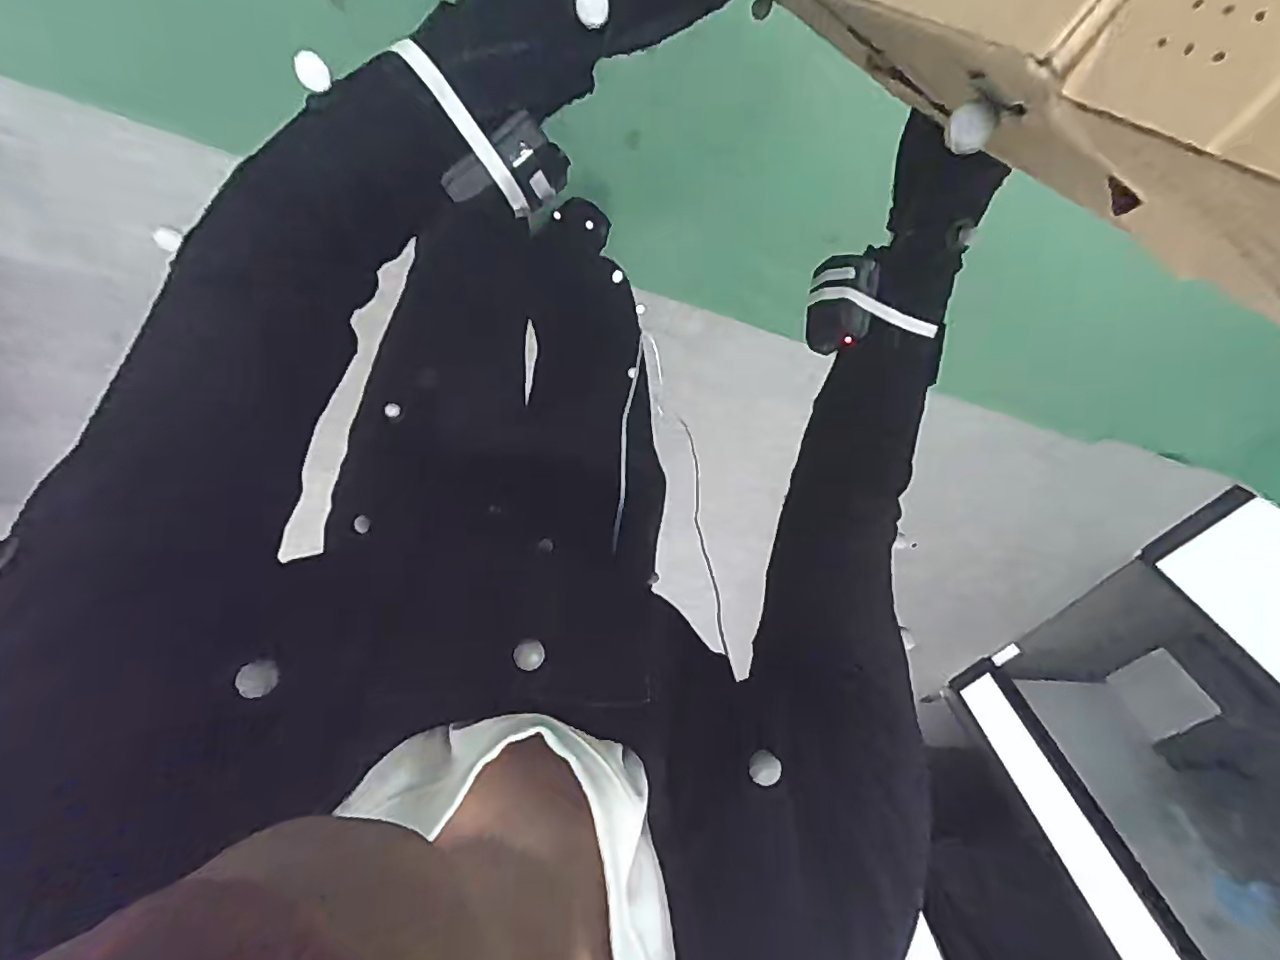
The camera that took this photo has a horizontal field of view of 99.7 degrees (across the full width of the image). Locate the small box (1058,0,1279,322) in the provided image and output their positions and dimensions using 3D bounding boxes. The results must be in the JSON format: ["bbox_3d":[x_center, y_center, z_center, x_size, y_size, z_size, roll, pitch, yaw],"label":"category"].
[{"bbox_3d":[0.214,-0.074,0.061,0.168,0.176,0.179,14,134,-24],"label":"small box"}]

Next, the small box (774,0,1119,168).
[{"bbox_3d":[0.174,-0.313,0.280,0.168,0.176,0.179,16,133,-25],"label":"small box"}]
